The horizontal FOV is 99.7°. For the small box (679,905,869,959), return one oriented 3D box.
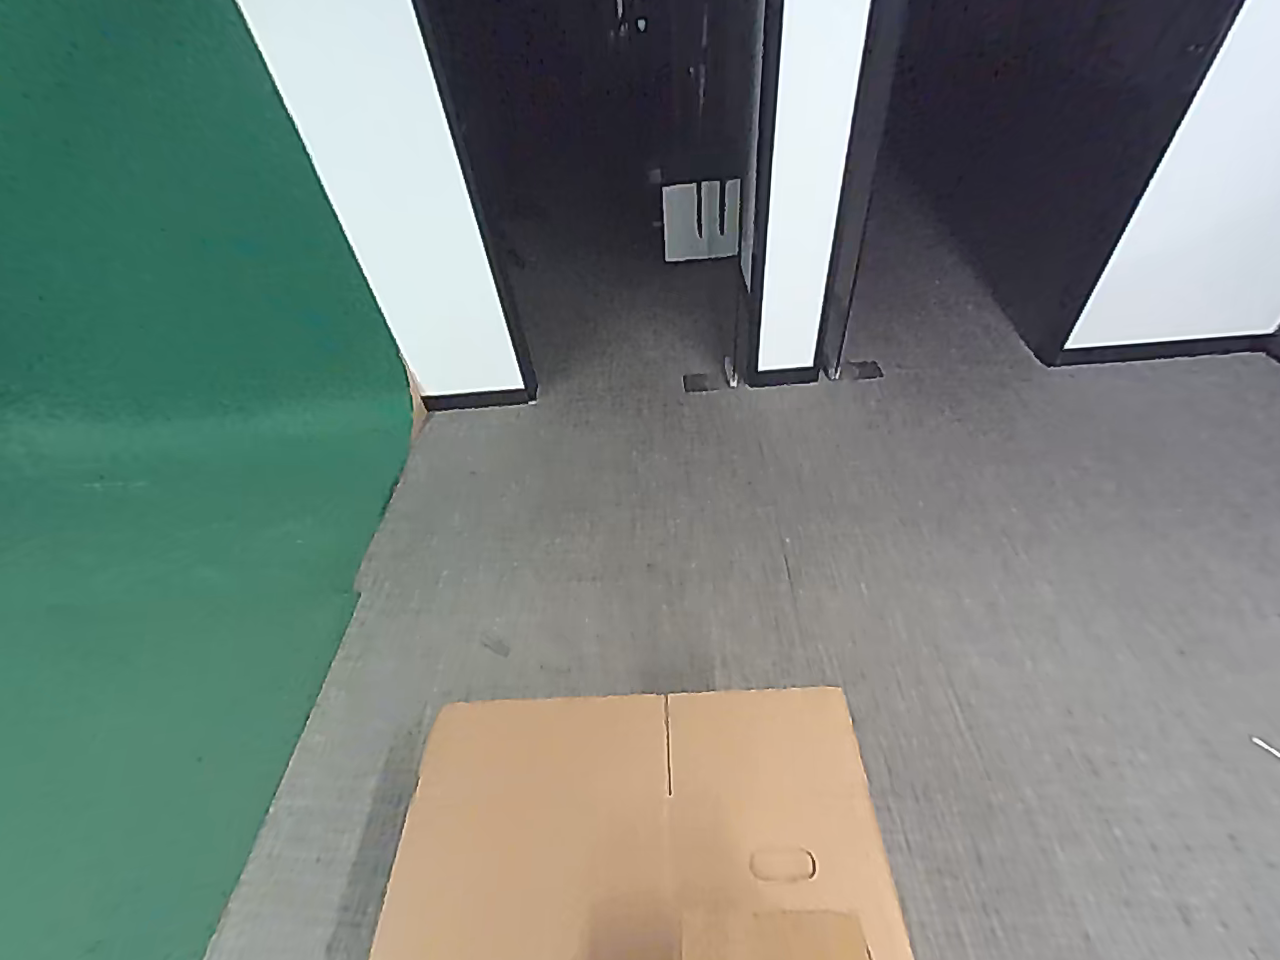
[{"bbox_3d":[0.126,0.529,0.486,0.179,0.176,0.168,-2,17,5],"label":"small box"}]
